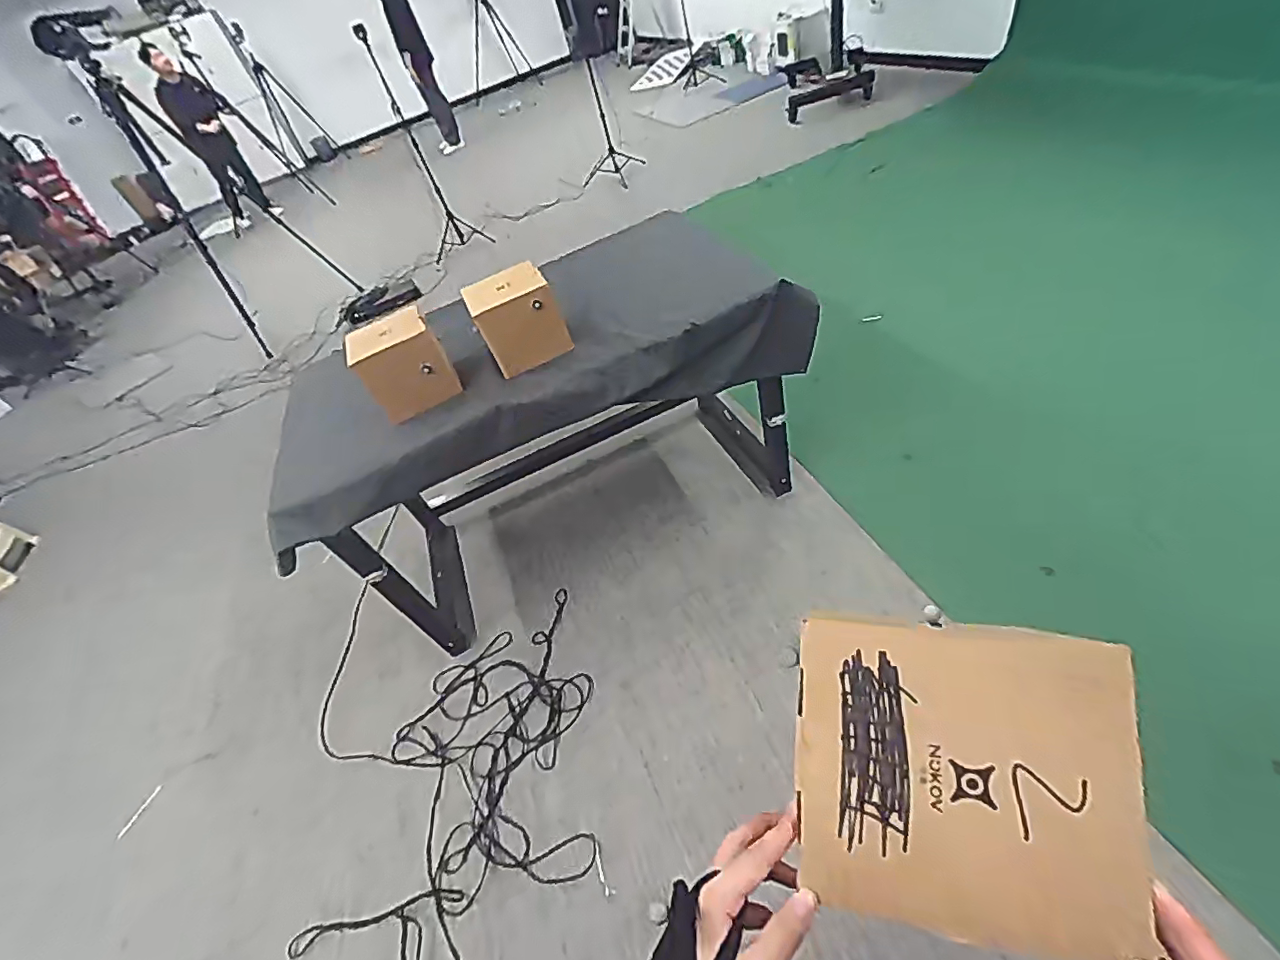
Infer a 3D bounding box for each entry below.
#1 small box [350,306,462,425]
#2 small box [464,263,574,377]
[{"bbox_3d":[-0.525,-0.259,1.229,0.179,0.176,0.168,-29,44,-7],"label":"small box"},{"bbox_3d":[-0.275,-0.363,1.239,0.179,0.176,0.168,-26,44,-7],"label":"small box"}]
